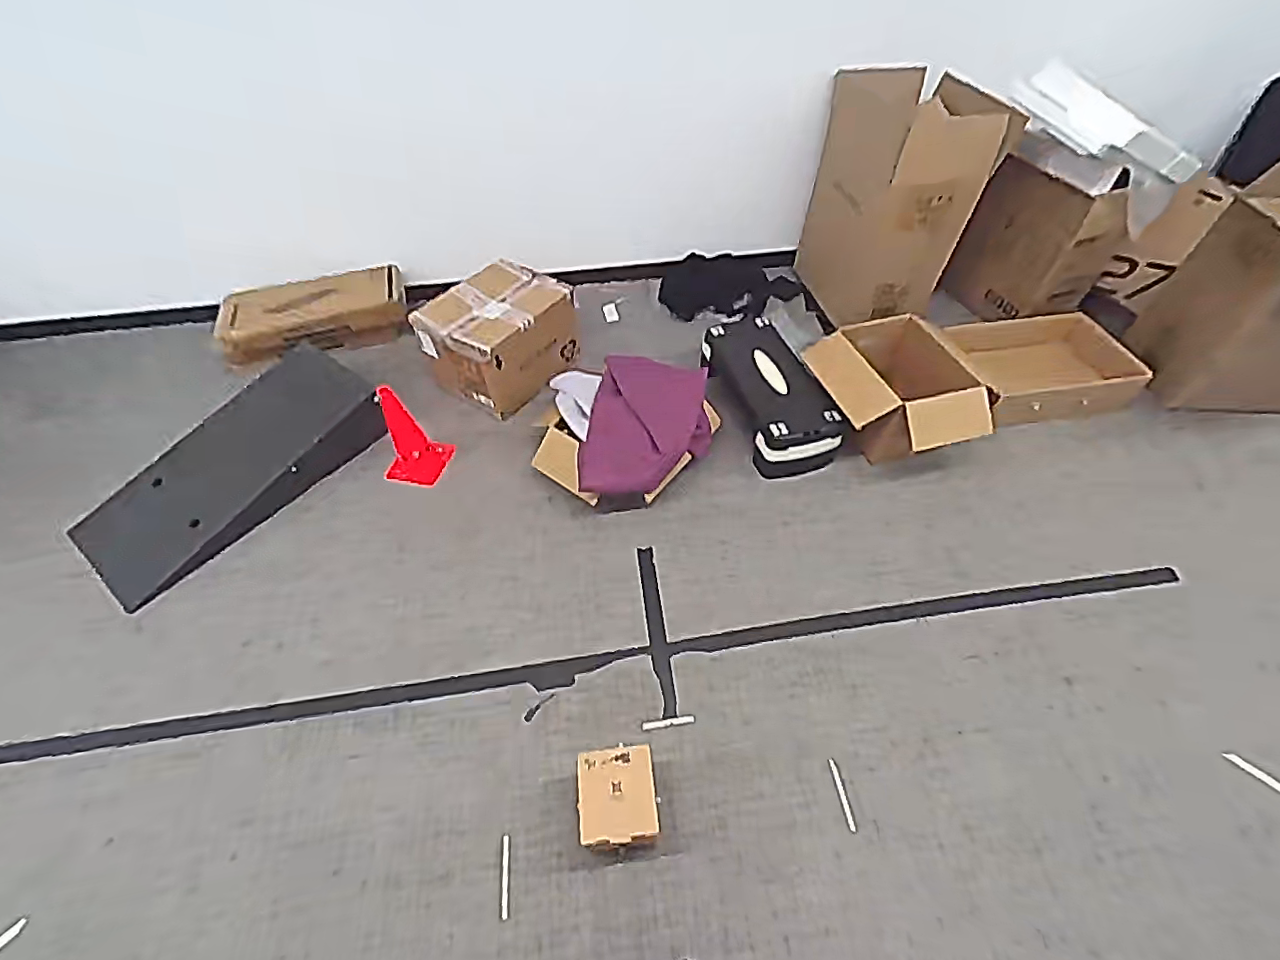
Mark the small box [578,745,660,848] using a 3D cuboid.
[{"bbox_3d":[-0.046,0.718,1.220,0.168,0.176,0.179,-6,52,-3],"label":"small box"}]
